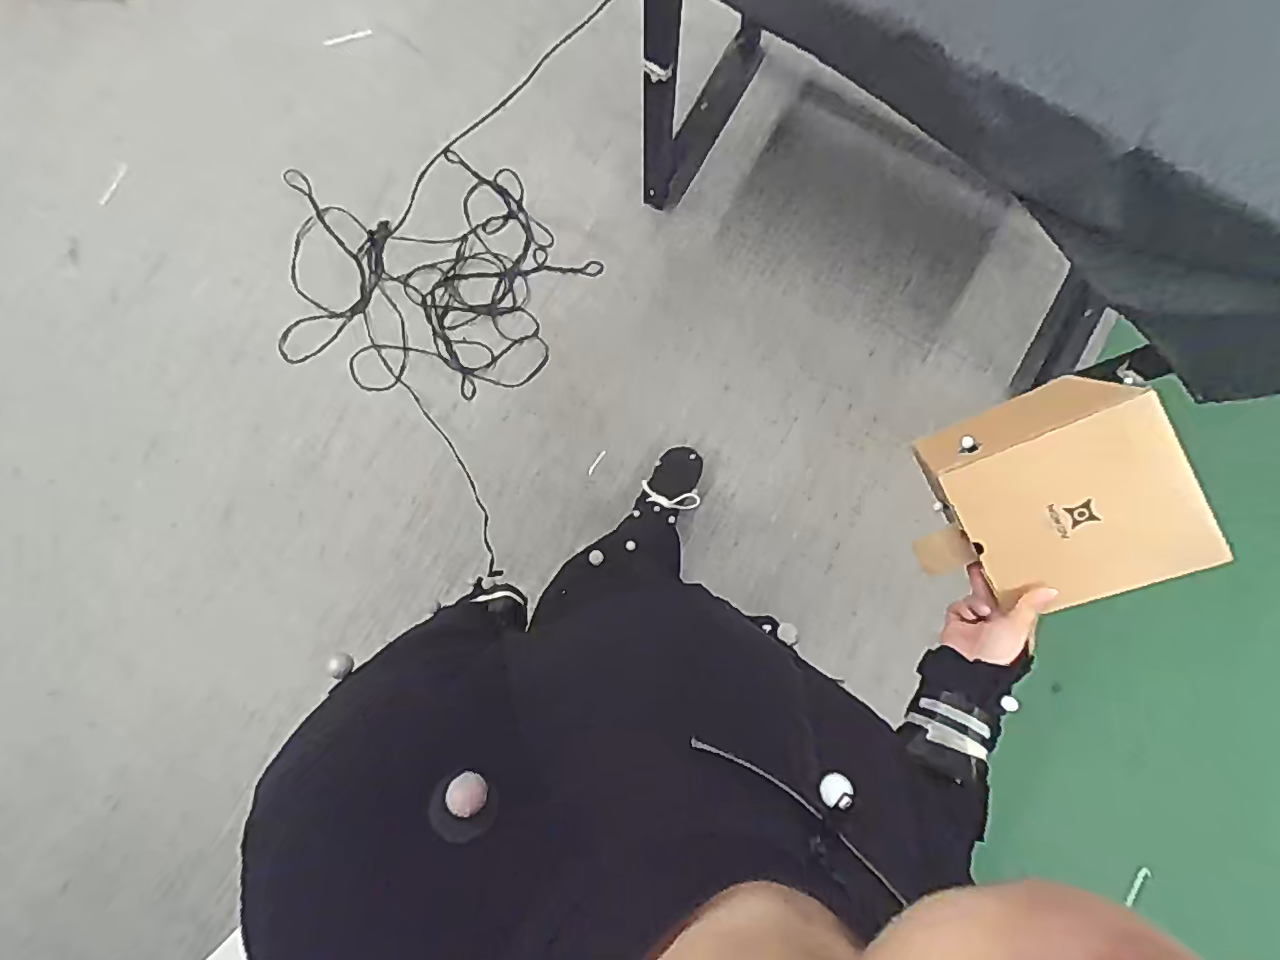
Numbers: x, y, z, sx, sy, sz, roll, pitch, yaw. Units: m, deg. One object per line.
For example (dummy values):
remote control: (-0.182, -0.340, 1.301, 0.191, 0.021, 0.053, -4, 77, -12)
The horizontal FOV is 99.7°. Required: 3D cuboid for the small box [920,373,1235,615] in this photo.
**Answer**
small box: (0.417, 0.004, 0.553, 0.179, 0.176, 0.168, -27, 95, 25)
